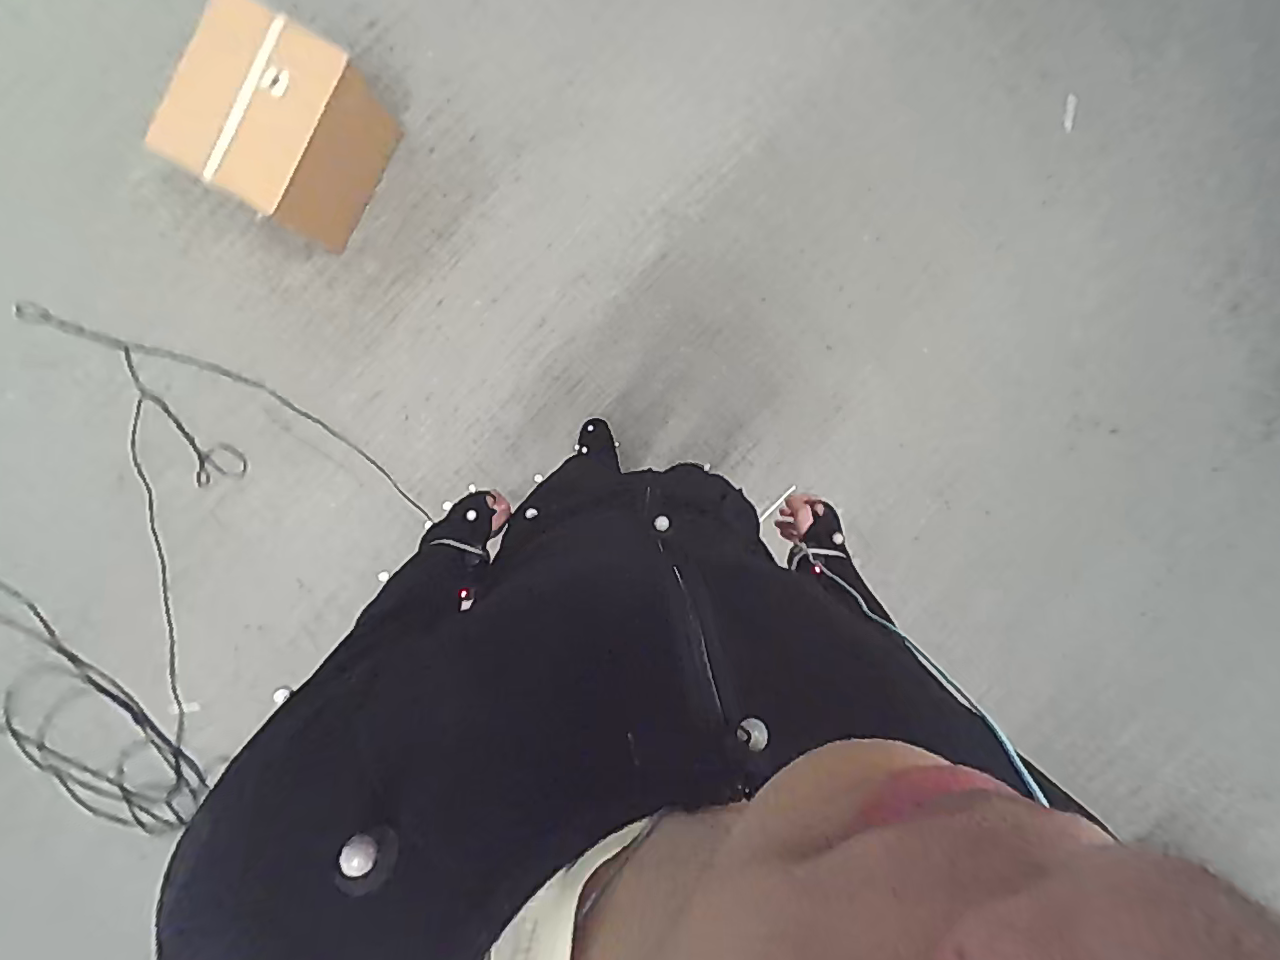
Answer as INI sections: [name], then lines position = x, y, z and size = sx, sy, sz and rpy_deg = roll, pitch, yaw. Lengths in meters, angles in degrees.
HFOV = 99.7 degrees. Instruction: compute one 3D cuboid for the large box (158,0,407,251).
[large box]
position = -0.868, -0.875, 1.363
size = 0.320, 0.320, 0.408
rpy_deg = 30, 93, -5
